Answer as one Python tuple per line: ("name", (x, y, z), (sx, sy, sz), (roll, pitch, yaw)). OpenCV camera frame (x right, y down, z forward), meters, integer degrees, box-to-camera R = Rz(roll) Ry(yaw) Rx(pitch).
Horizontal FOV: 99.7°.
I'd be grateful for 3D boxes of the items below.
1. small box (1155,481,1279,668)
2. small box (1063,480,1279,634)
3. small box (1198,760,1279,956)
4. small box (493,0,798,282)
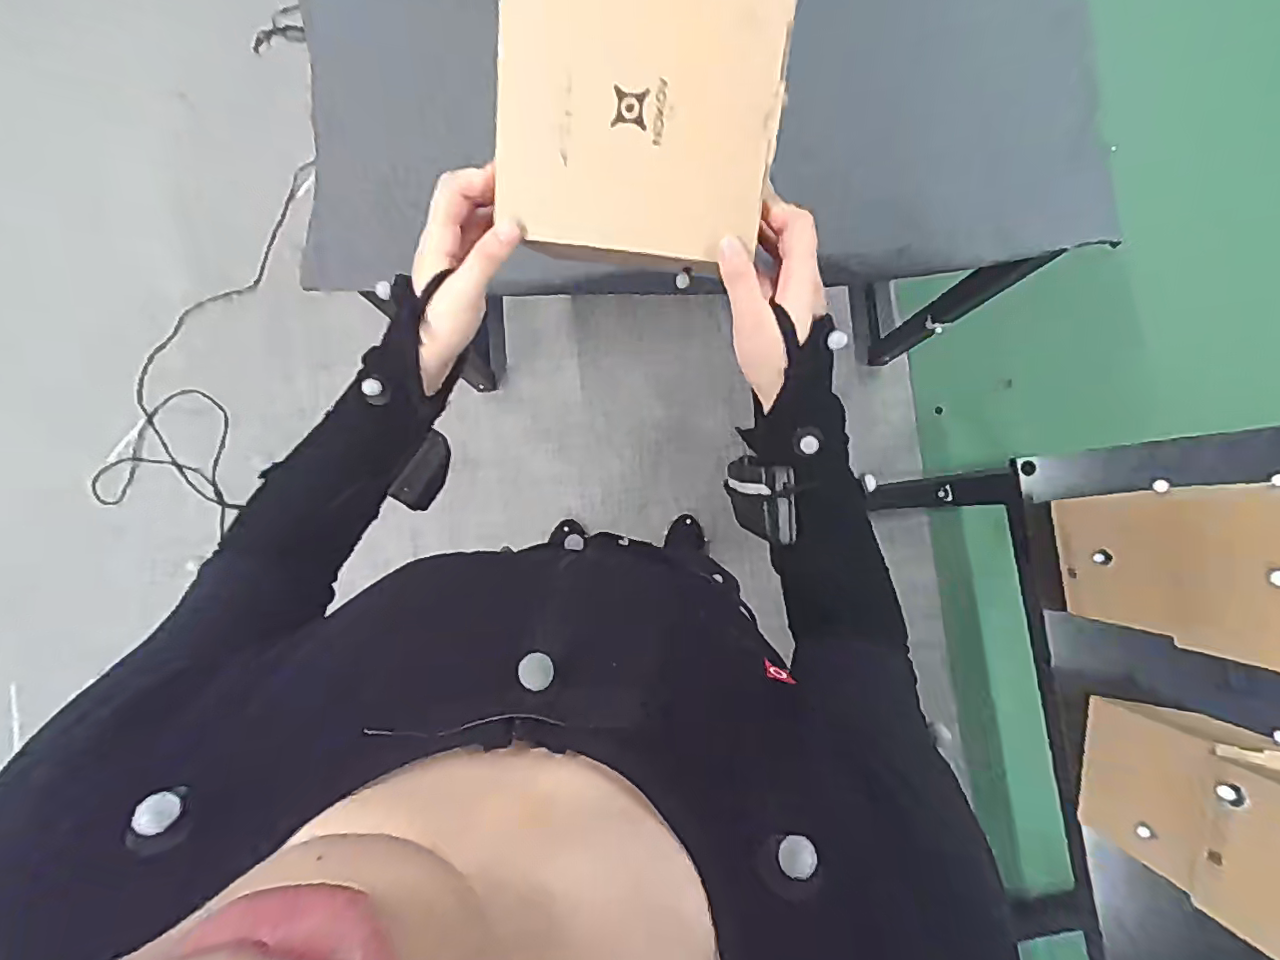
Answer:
("small box", (0.679, 0.090, 0.539), (0.168, 0.176, 0.179), (-6, 86, -1))
("small box", (0.693, 0.094, 0.701), (0.179, 0.176, 0.168), (-6, 87, -1))
("small box", (0.704, 0.395, 0.515), (0.179, 0.176, 0.168), (12, 87, 0))
("small box", (0.003, -0.247, 0.408), (0.179, 0.176, 0.168), (7, 107, 3))
